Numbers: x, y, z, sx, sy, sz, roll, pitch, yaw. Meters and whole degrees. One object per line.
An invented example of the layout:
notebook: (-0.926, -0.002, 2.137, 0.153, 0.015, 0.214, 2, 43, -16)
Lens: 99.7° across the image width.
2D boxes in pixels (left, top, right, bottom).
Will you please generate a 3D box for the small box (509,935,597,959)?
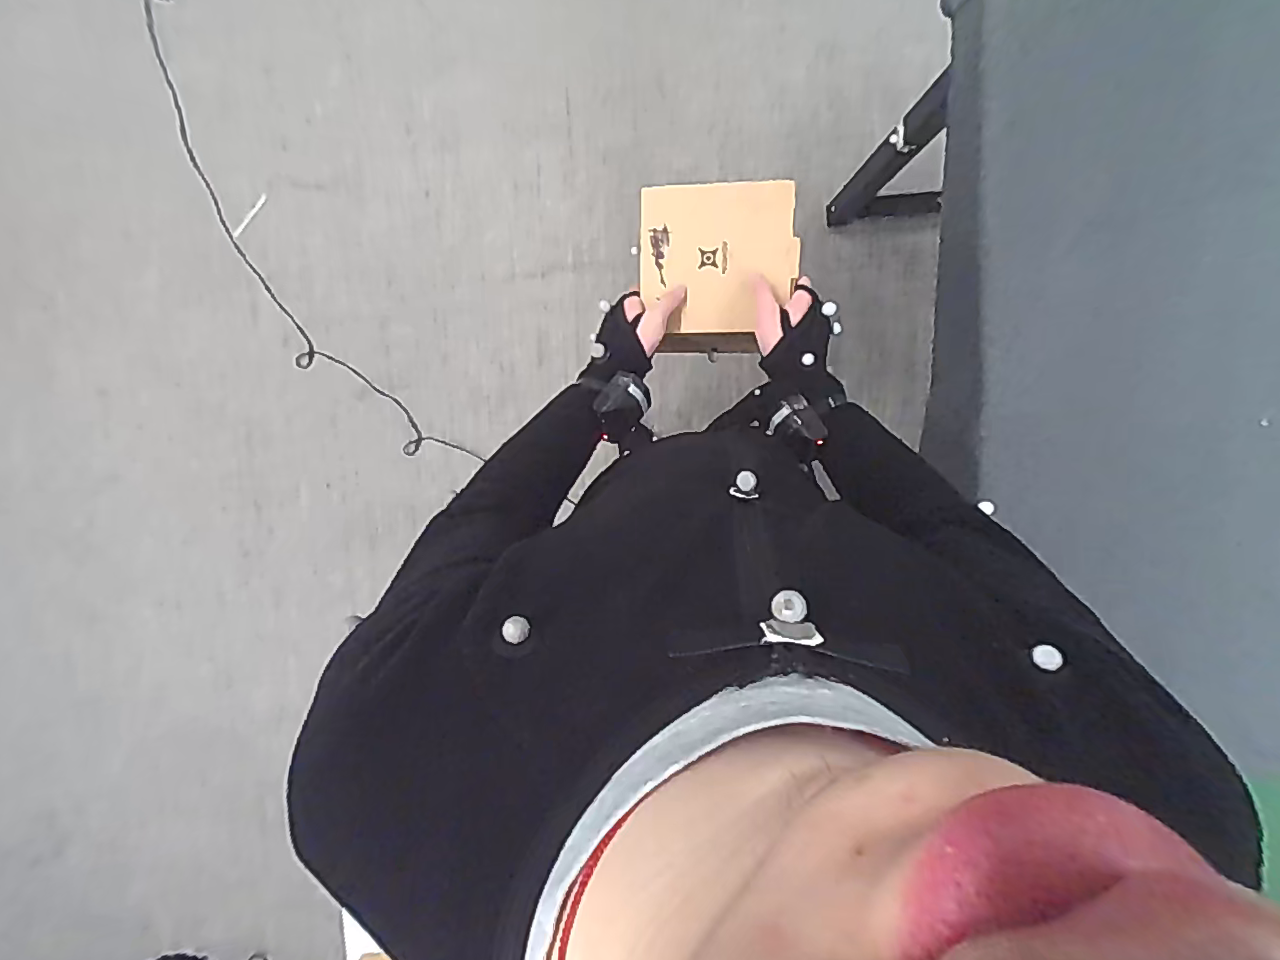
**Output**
small box: (-0.172, 1.010, 1.024, 0.179, 0.176, 0.168, -1, 98, 2)

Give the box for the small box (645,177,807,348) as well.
small box: (0.100, -0.262, 0.683, 0.179, 0.176, 0.168, 2, 96, 5)
